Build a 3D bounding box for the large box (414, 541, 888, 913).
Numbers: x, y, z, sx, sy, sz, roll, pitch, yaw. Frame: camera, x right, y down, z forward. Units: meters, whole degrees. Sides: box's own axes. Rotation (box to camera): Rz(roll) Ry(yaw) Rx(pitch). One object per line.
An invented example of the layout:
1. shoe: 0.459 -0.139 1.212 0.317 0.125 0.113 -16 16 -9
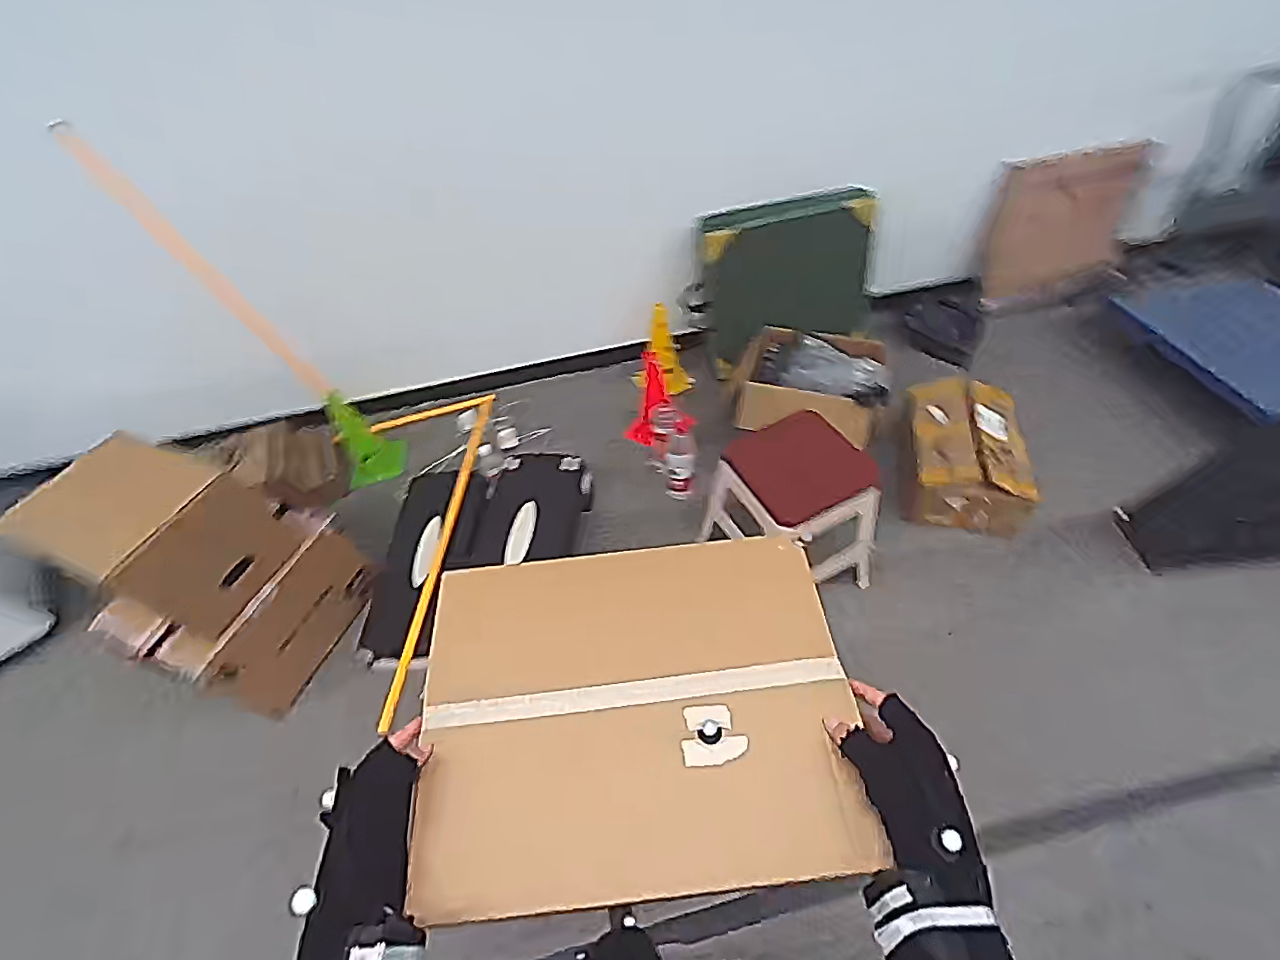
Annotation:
1. large box: 0.004 0.302 0.650 0.408 0.320 0.320 -5 53 0
